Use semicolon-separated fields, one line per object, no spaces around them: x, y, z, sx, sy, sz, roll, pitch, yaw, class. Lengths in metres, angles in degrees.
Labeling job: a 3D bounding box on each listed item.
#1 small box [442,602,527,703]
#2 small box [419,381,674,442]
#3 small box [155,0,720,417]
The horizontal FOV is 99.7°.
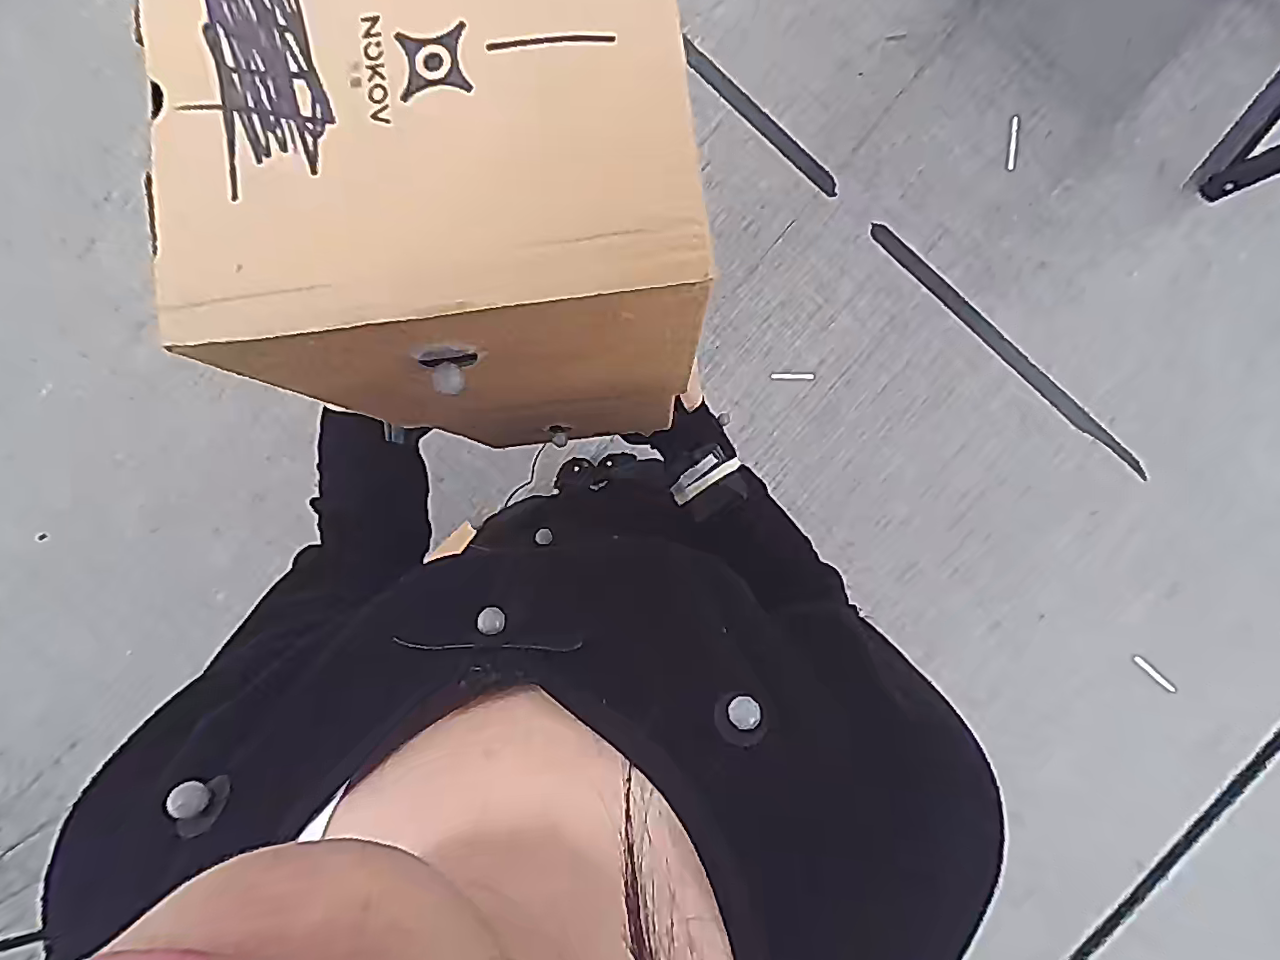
-0.322;0.347;0.968;0.179;0.176;0.168;-45;93;1;small box
-0.063;-0.126;0.417;0.168;0.176;0.179;-6;87;1;small box
-0.066;-0.128;0.252;0.179;0.176;0.168;-6;88;0;small box
